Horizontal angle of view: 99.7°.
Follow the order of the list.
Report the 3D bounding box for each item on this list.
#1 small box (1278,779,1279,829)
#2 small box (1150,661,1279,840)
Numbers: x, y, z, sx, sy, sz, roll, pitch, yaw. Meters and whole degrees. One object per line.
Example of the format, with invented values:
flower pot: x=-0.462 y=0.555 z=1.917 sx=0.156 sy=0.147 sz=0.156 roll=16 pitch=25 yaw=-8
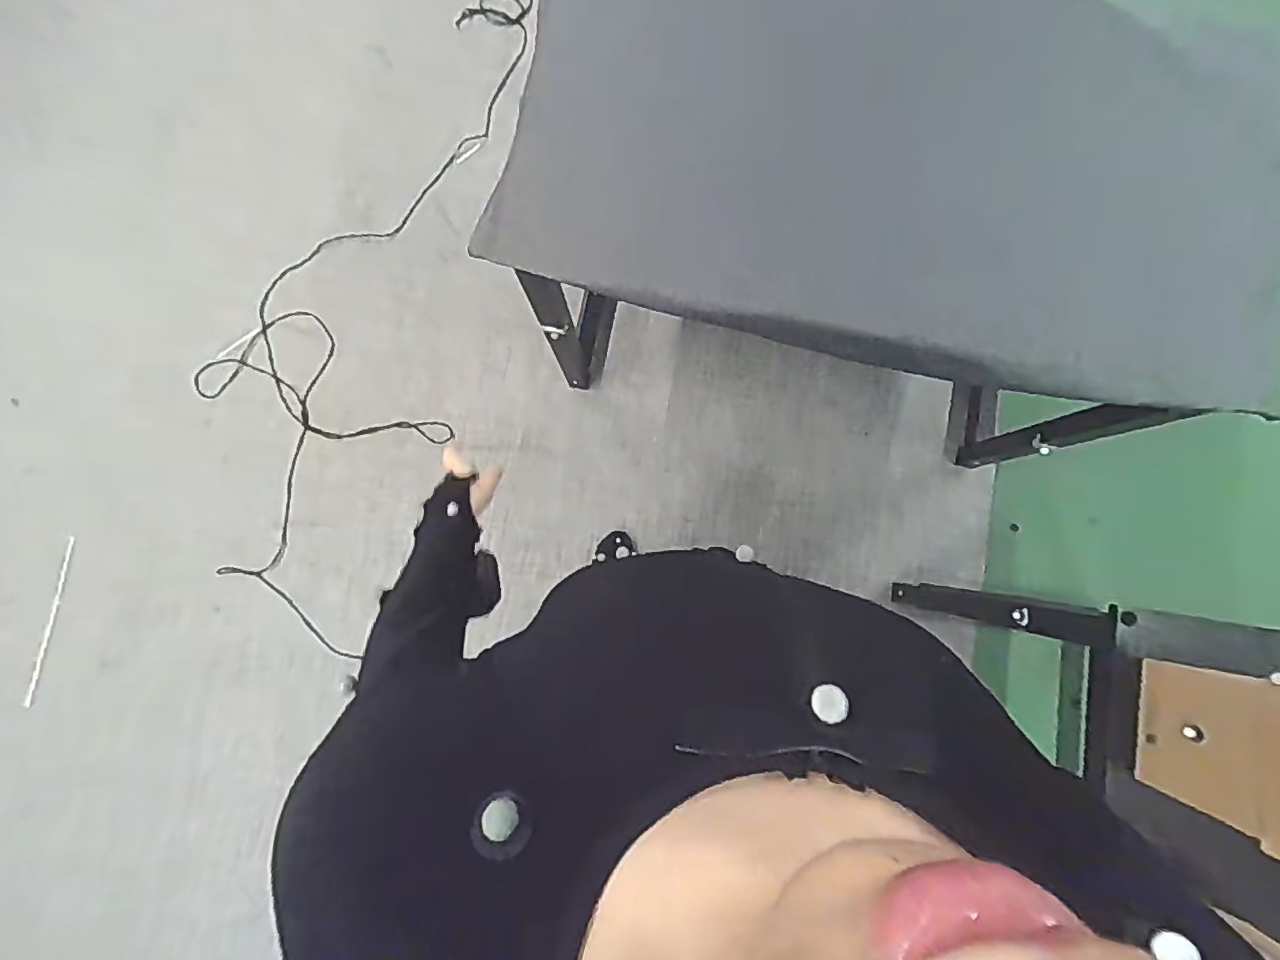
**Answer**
small box: x=0.758 y=0.314 z=0.493 sx=0.168 sy=0.176 sz=0.179 roll=9 pitch=84 yaw=3
small box: x=0.778 y=0.329 z=0.654 sx=0.179 sy=0.176 sz=0.168 roll=9 pitch=85 yaw=2
